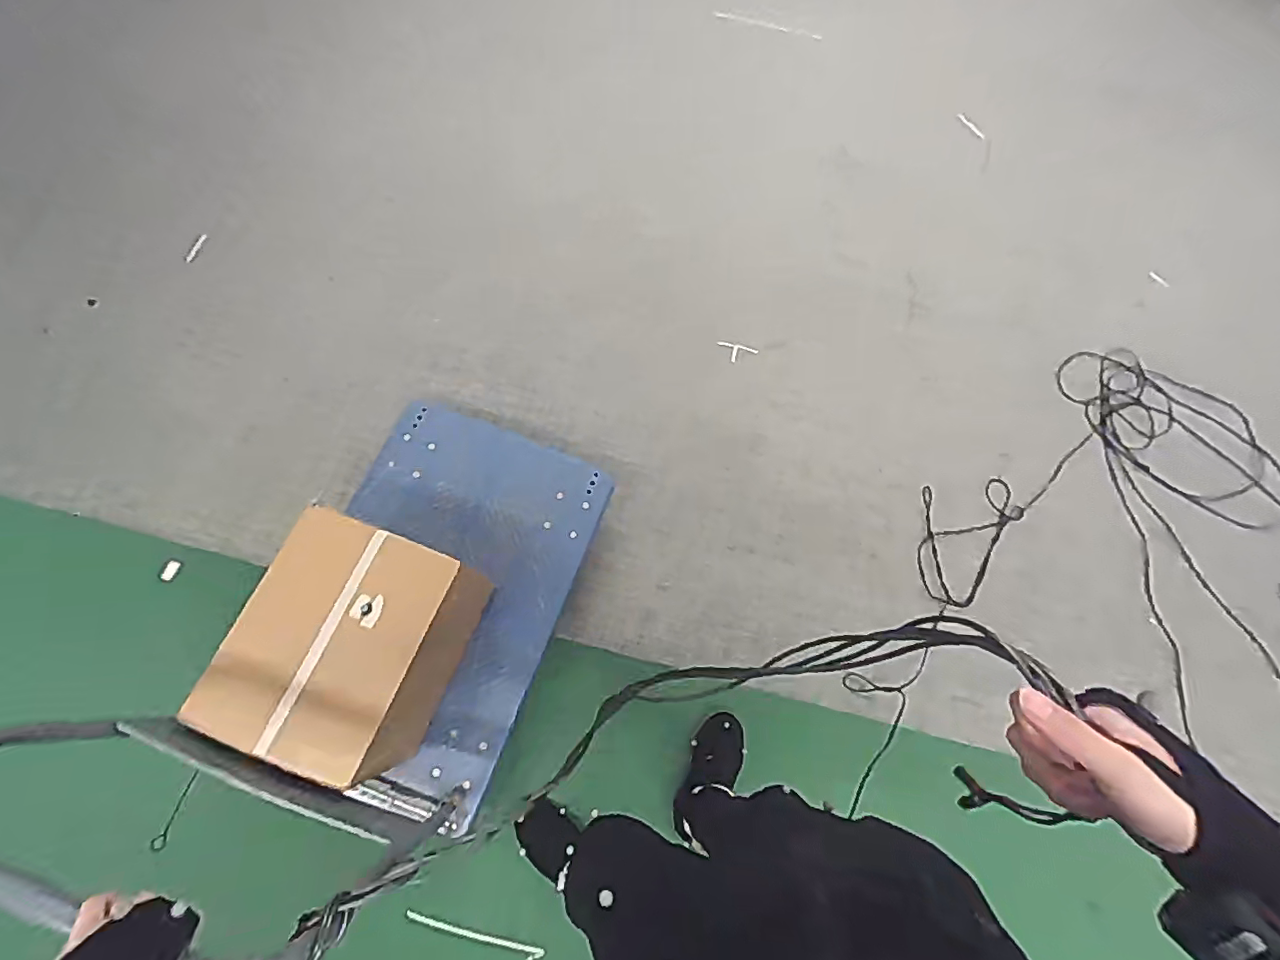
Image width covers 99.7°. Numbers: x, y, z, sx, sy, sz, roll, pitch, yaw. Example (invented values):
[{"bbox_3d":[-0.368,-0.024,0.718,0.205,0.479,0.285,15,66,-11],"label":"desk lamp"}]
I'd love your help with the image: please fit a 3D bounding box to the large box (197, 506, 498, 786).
[{"bbox_3d":[-0.533,0.323,1.082,0.320,0.320,0.408,20,70,4],"label":"large box"}]
